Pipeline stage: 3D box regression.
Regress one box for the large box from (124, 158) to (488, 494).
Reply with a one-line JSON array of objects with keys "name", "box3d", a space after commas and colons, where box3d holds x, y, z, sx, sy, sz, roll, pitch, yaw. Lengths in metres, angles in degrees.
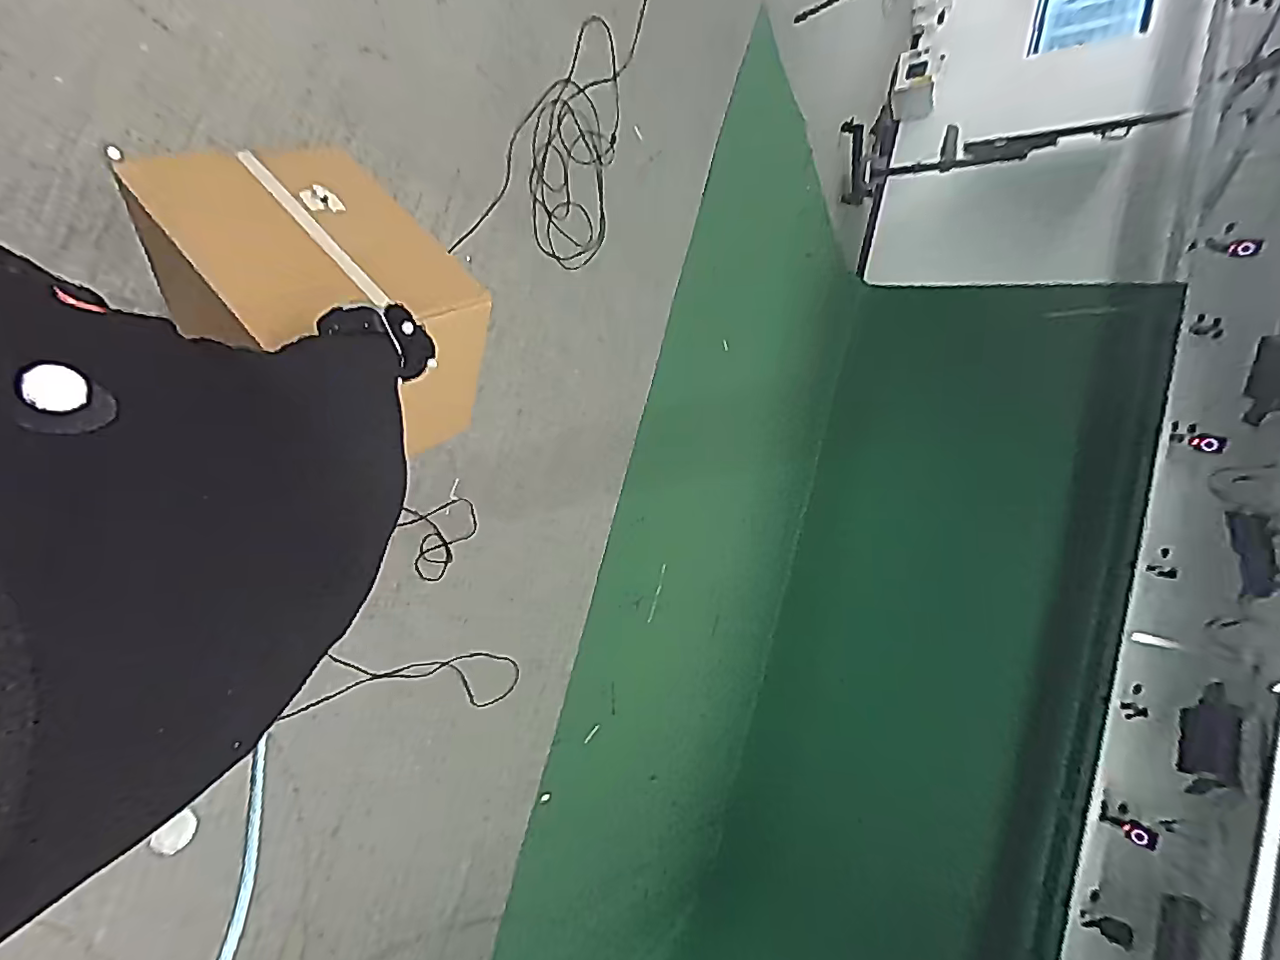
[{"name": "large box", "box3d": [-0.513, -0.256, 0.893, 0.320, 0.408, 0.320, -34, 164, -40]}]
